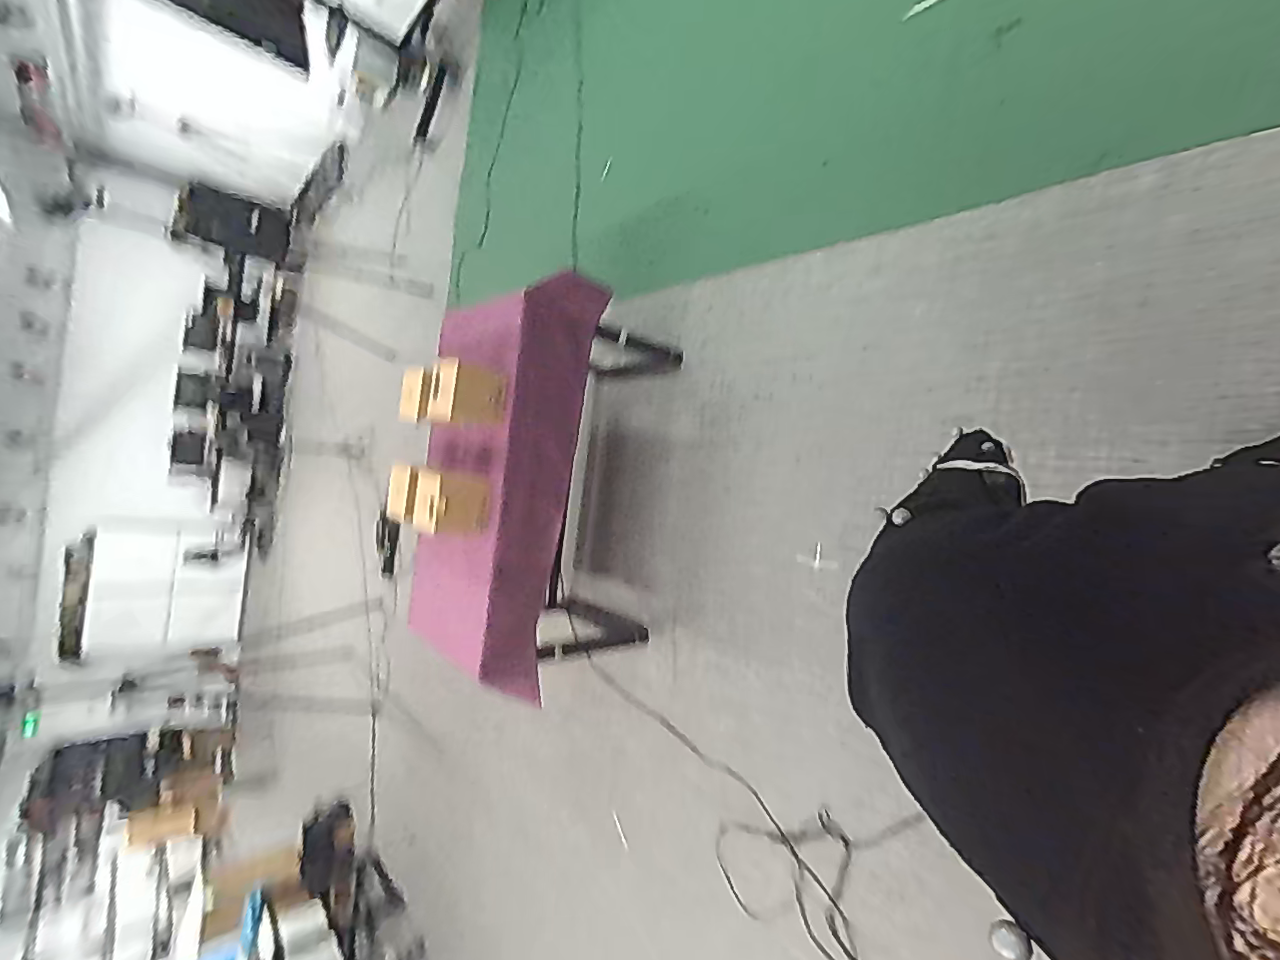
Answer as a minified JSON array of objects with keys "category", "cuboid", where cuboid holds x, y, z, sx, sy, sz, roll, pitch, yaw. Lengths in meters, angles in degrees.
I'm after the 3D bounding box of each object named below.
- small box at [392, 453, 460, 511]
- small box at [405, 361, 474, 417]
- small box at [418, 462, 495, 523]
[{"category":"small box","cuboid":[-0.740,0.010,1.881,0.168,0.176,0.179,13,94,46]},{"category":"small box","cuboid":[-0.692,-0.314,1.872,0.179,0.176,0.168,13,95,48]},{"category":"small box","cuboid":[-0.575,0.041,1.696,0.179,0.176,0.168,11,93,48]}]
